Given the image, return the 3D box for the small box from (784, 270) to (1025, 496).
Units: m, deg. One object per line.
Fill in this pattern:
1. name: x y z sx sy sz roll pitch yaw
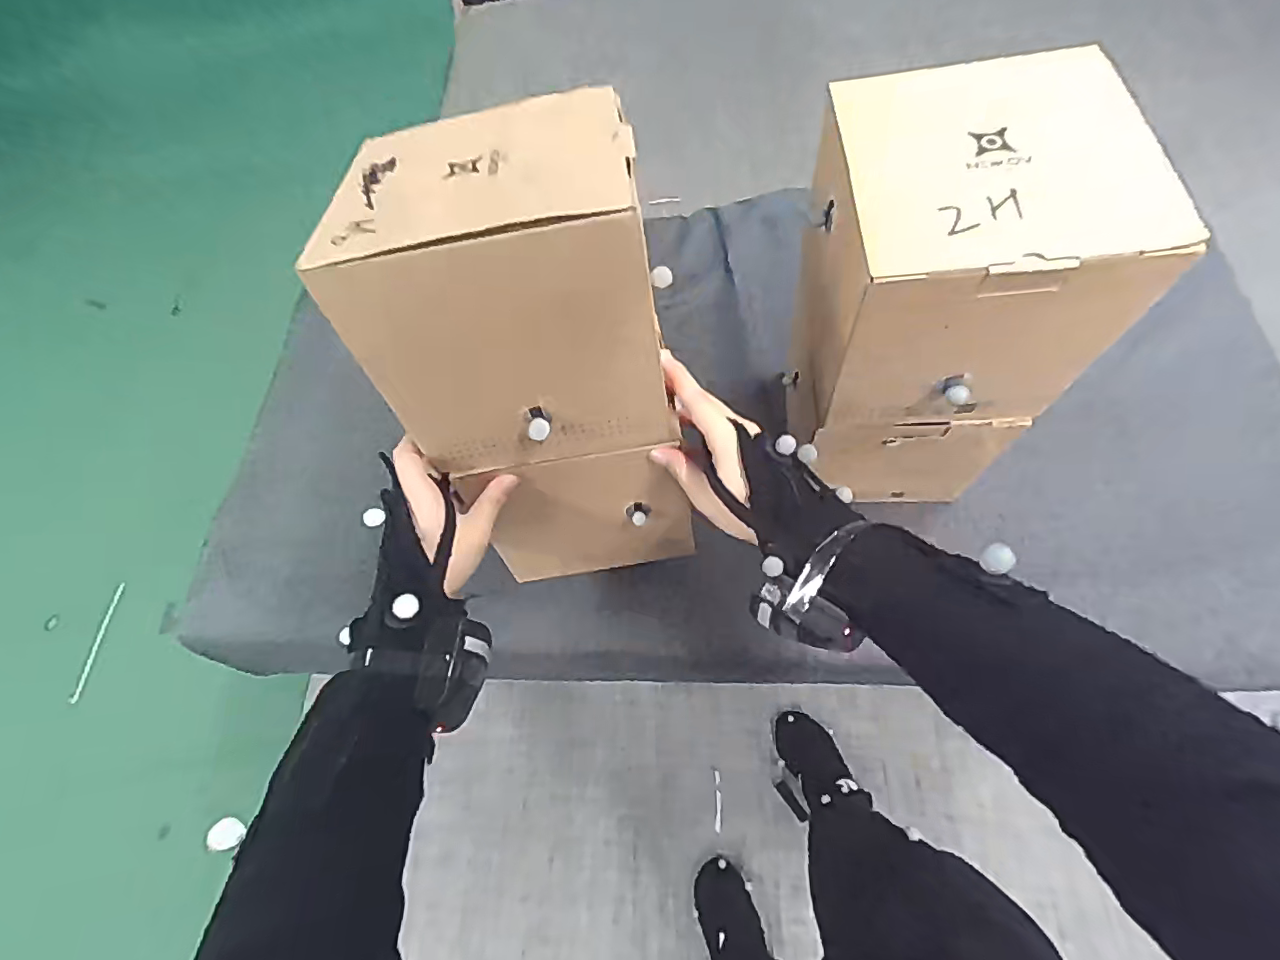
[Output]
1. small box: 0.237 -0.090 0.537 0.168 0.176 0.179 -1 66 9

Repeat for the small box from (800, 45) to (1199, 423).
1. small box: 0.214 -0.159 0.389 0.168 0.176 0.179 -3 66 8

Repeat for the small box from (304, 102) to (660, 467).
1. small box: -0.082 -0.129 0.382 0.179 0.176 0.168 -8 51 4
